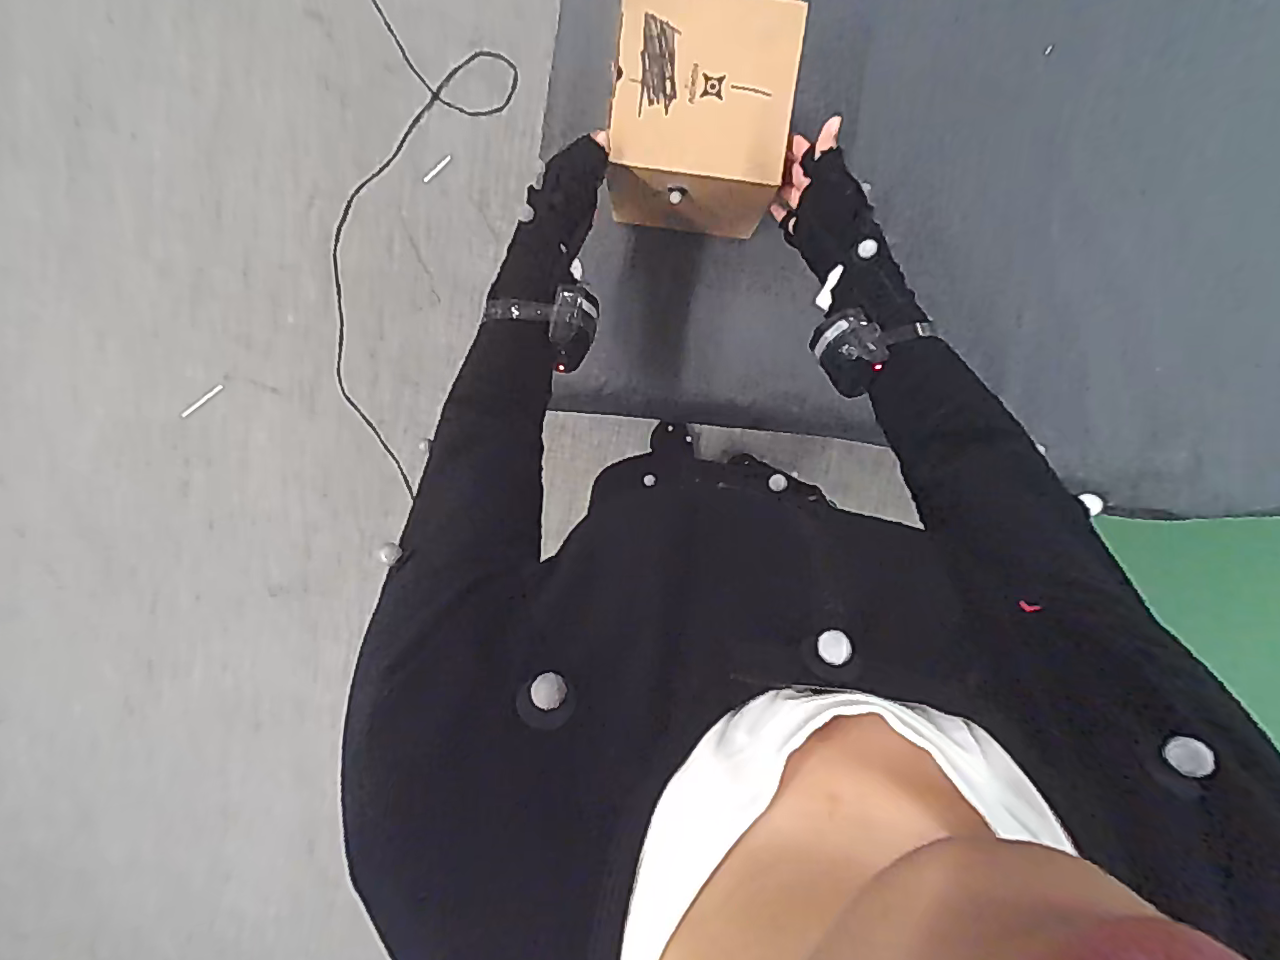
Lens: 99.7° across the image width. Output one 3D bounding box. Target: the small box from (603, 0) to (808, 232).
[{"bbox_3d":[0.062,-0.390,0.592,0.179,0.176,0.168,8,98,-1],"label":"small box"}]
